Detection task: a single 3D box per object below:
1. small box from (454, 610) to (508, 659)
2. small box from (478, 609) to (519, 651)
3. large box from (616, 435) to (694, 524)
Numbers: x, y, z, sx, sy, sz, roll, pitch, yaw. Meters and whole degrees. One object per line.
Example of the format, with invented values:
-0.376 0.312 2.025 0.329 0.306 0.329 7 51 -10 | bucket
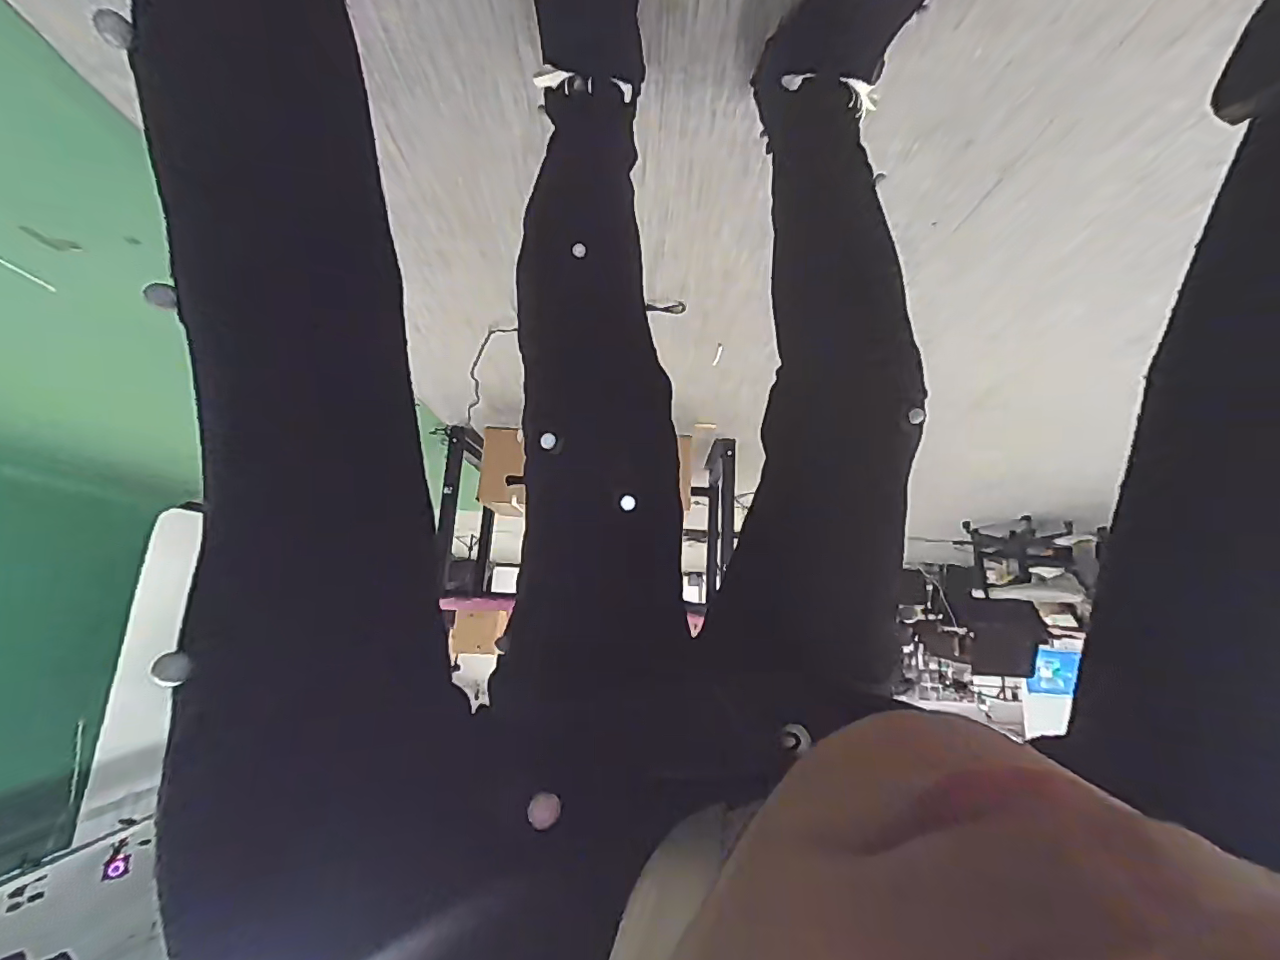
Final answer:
-0.621 0.604 2.134 0.168 0.176 0.179 2 169 -2 | small box
-0.645 0.675 2.440 0.168 0.176 0.179 1 166 -2 | small box
0.074 0.008 2.349 0.320 0.320 0.408 3 168 3 | large box
